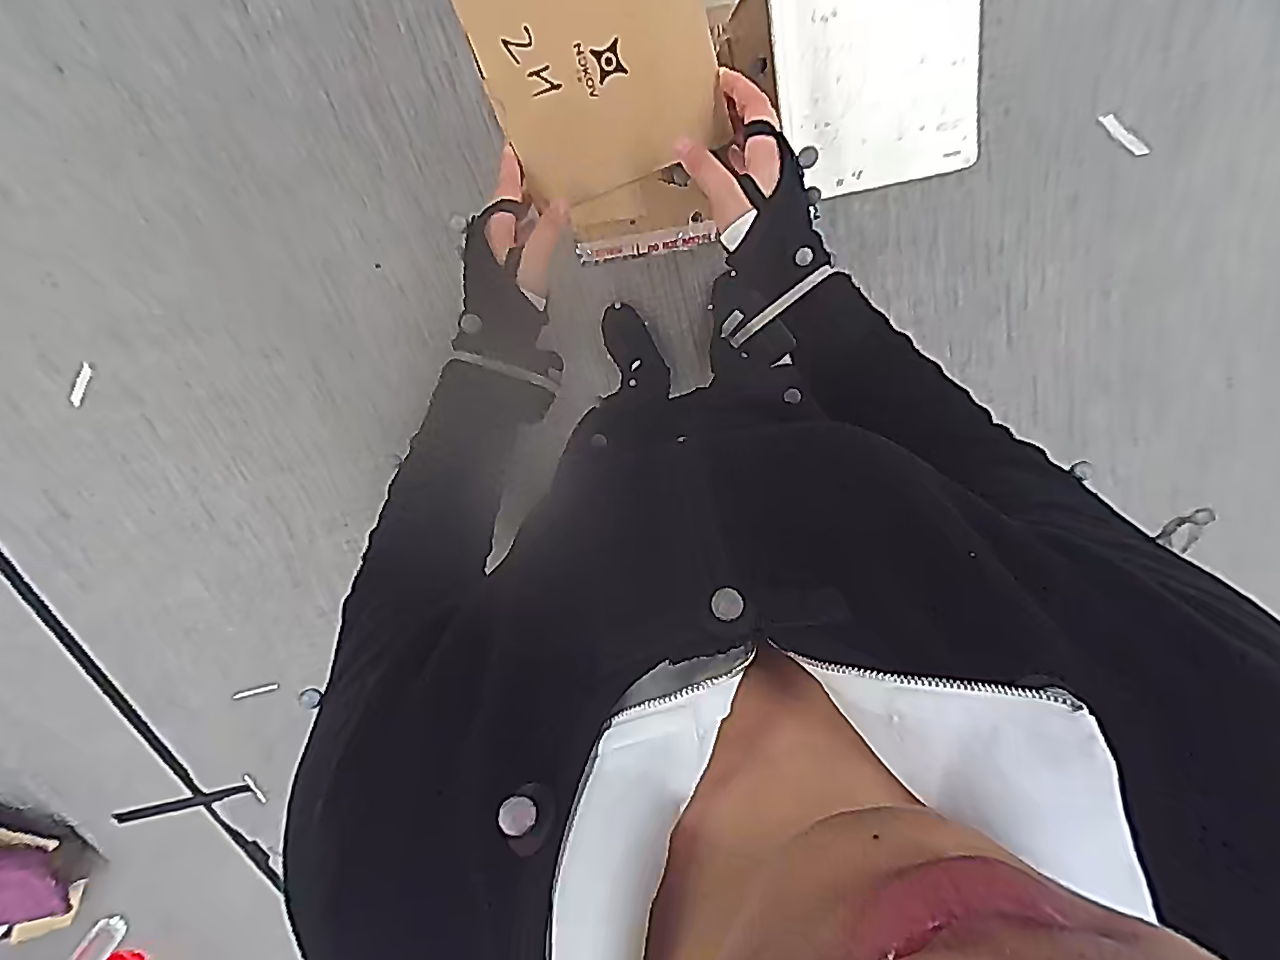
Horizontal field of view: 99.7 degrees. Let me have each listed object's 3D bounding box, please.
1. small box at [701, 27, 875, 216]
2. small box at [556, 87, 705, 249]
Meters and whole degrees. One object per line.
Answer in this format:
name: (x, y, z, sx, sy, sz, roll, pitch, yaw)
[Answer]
small box: (0.198, -0.481, 0.754, 0.179, 0.176, 0.168, -17, 113, 2)
small box: (-0.012, -0.427, 0.762, 0.179, 0.176, 0.168, -8, 114, 1)
